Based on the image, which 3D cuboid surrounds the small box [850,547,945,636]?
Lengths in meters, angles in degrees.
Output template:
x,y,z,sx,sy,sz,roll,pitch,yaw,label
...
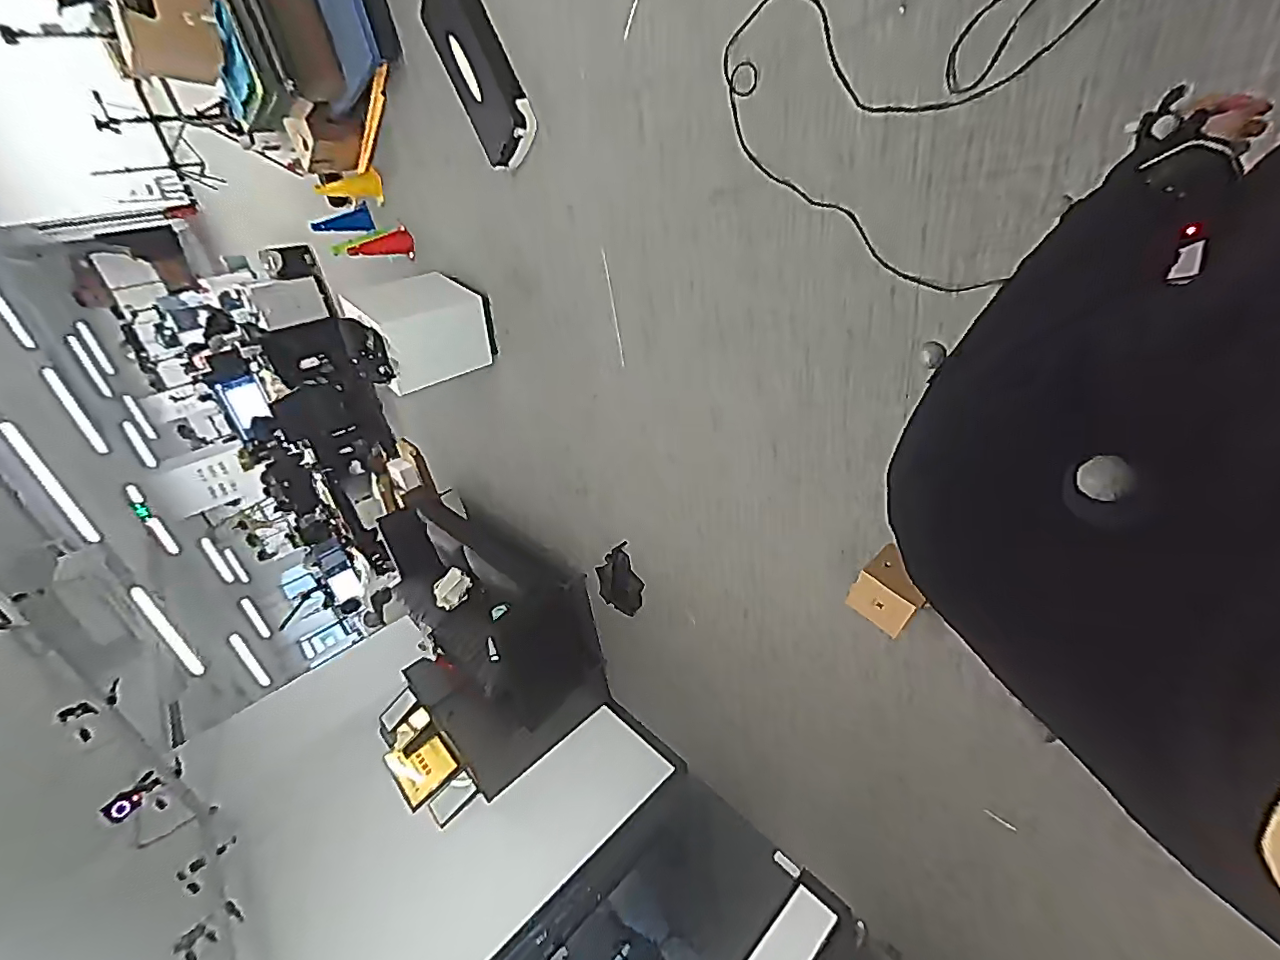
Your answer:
x,y,z,sx,sy,sz,roll,pitch,yaw,label
0.777,0.327,1.635,0.179,0.176,0.168,37,142,31,small box
